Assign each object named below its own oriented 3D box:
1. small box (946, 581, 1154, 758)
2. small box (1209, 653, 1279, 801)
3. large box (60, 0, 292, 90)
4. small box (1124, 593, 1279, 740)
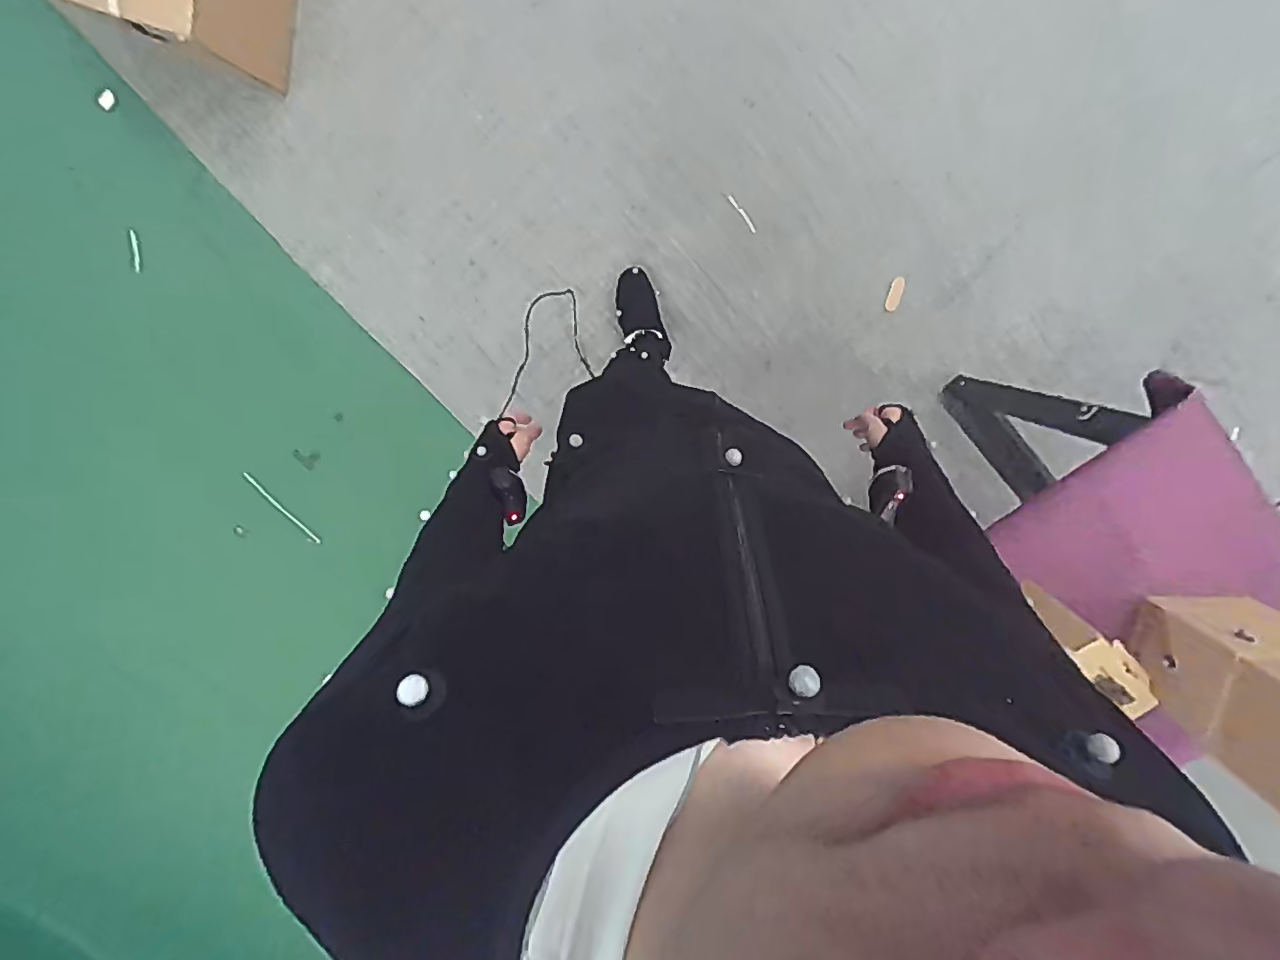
[{"bbox_3d":[0.652,0.300,0.884,0.168,0.176,0.179,43,105,-11],"label":"small box"},{"bbox_3d":[0.933,0.350,0.718,0.168,0.176,0.179,1,108,4],"label":"small box"},{"bbox_3d":[-1.006,-1.177,1.184,0.320,0.320,0.408,17,108,-2],"label":"large box"},{"bbox_3d":[0.942,0.294,0.870,0.179,0.176,0.168,0,108,3],"label":"small box"}]
